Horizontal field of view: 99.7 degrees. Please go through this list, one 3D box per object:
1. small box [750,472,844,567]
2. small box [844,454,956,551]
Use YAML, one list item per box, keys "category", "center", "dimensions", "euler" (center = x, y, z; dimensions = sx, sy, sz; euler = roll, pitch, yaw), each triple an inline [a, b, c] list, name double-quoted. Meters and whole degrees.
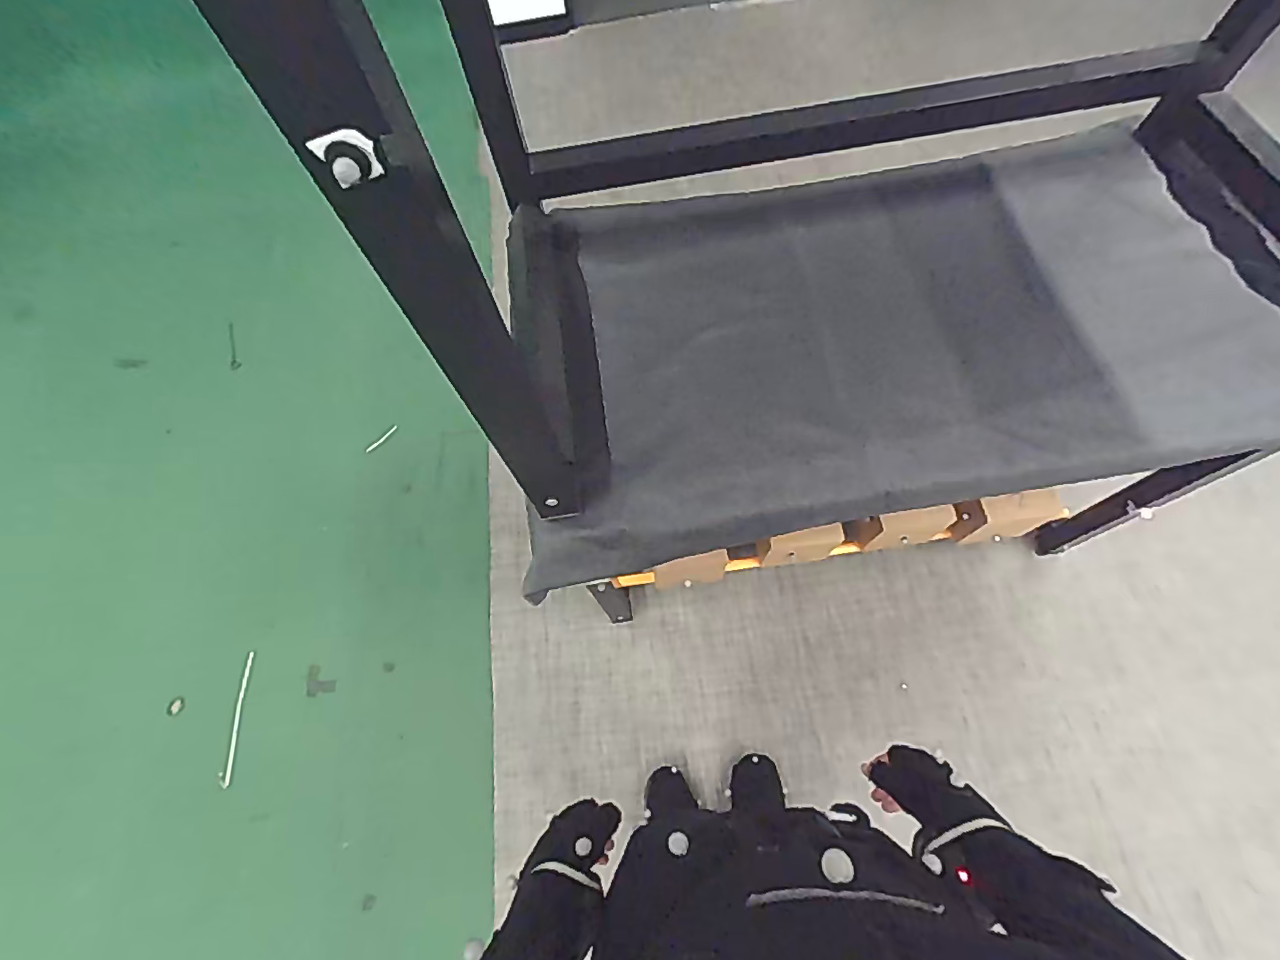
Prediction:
- category: "small box"
  center: [0.365, 0.102, 1.287]
  dimensions: [0.168, 0.176, 0.179]
  euler: [-7, 66, 1]
- category: "small box"
  center: [0.607, 0.062, 1.285]
  dimensions: [0.168, 0.176, 0.179]
  euler: [-9, 65, 1]
